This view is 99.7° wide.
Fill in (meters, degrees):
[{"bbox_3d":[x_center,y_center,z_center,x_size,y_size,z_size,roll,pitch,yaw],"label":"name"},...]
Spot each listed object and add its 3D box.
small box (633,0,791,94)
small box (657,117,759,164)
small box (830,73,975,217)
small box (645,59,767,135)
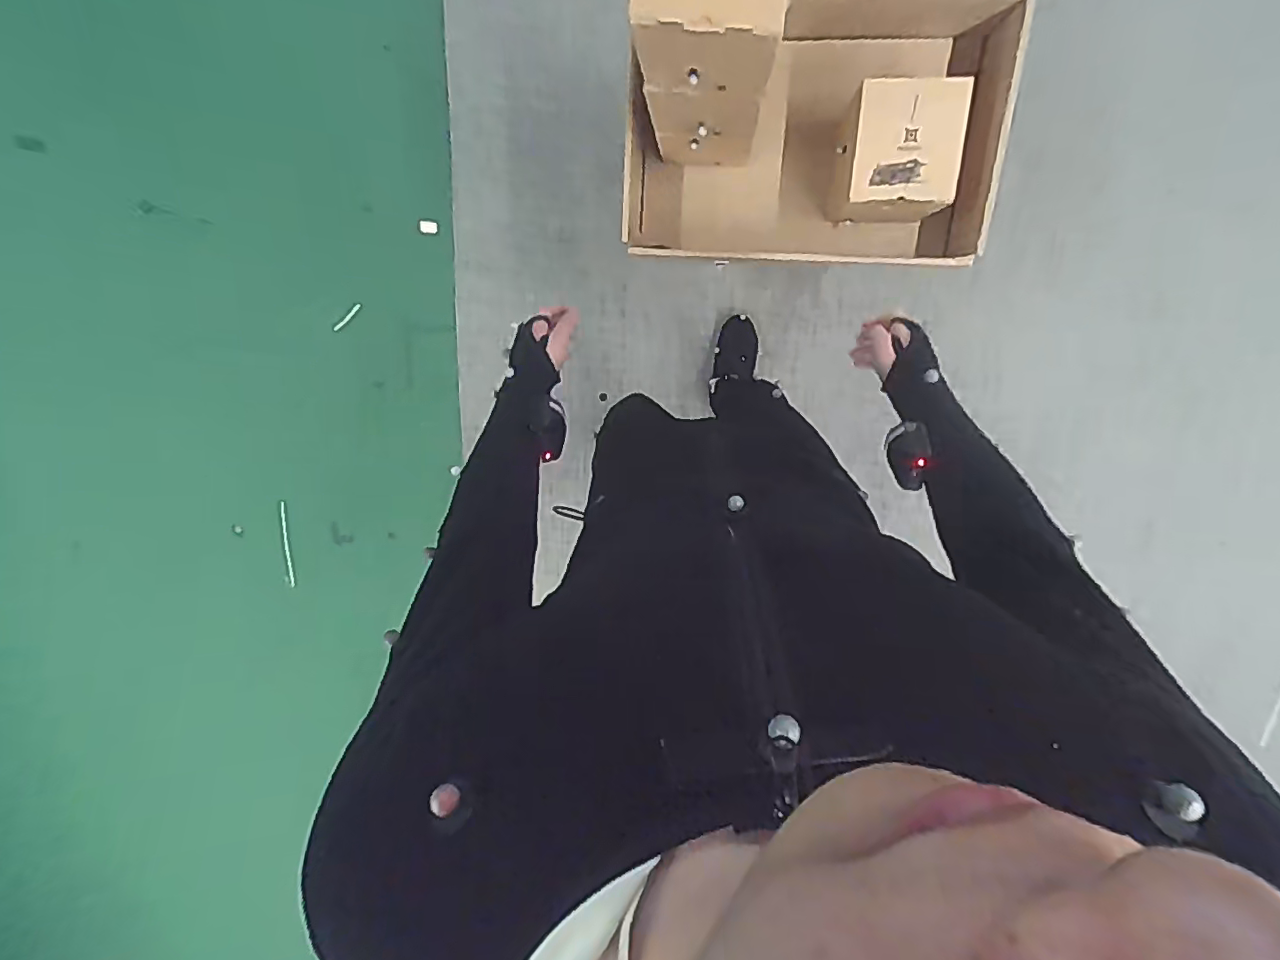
[{"bbox_3d":[0.091,-0.584,0.619,0.168,0.176,0.179,9,107,4],"label":"small box"},{"bbox_3d":[0.123,-0.671,0.931,0.168,0.176,0.179,6,106,5],"label":"small box"},{"bbox_3d":[0.433,-0.558,0.924,0.168,0.176,0.179,4,105,5],"label":"small box"},{"bbox_3d":[0.106,-0.627,0.774,0.168,0.176,0.179,8,107,5],"label":"small box"}]
